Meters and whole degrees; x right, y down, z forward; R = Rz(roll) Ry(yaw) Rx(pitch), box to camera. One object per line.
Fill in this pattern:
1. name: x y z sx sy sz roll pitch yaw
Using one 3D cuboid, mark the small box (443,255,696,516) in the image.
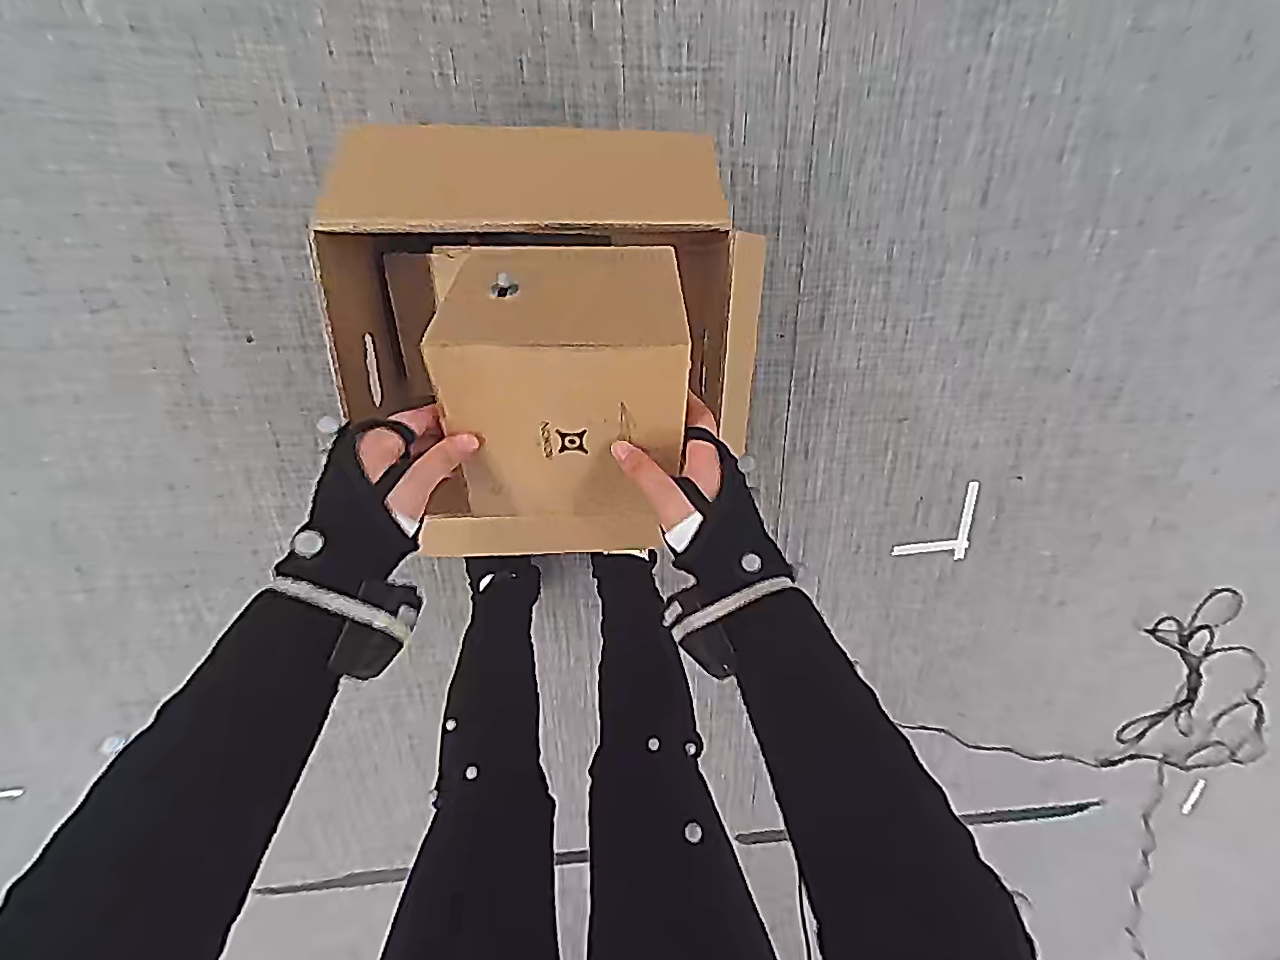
1. small box: -0.051 -0.085 0.479 0.179 0.176 0.168 -1 134 -2
